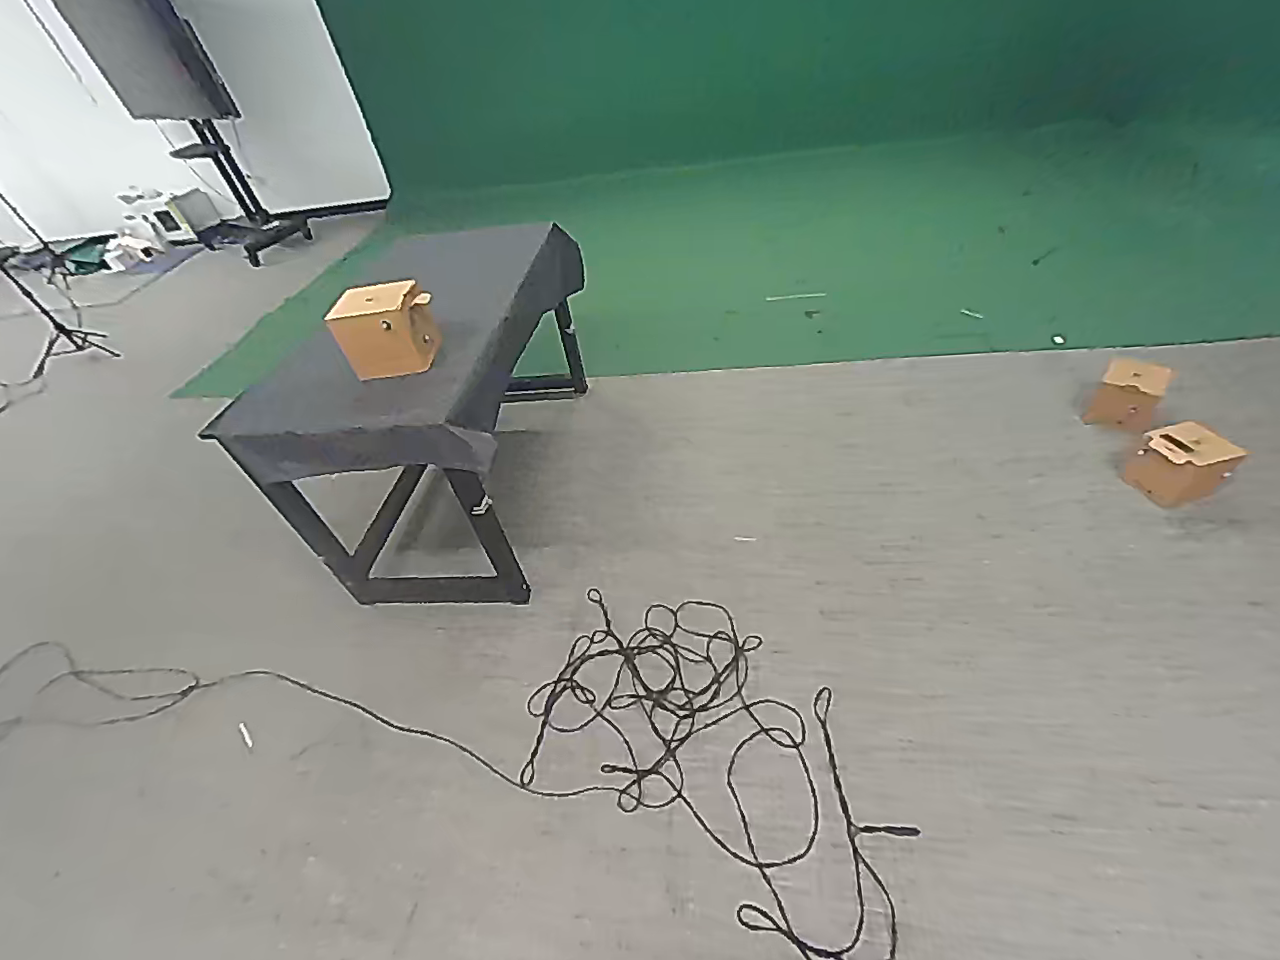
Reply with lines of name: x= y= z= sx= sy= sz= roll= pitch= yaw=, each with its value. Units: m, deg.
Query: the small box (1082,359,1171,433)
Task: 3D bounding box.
small box: x=1.682 y=-0.291 z=1.877 sx=0.168 sy=0.176 sz=0.179 roll=28 pitch=54 yaw=32

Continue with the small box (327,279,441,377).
small box: x=-0.619 y=-0.370 z=1.330 sx=0.179 sy=0.176 sz=0.168 roll=-7 pitch=43 yaw=3
